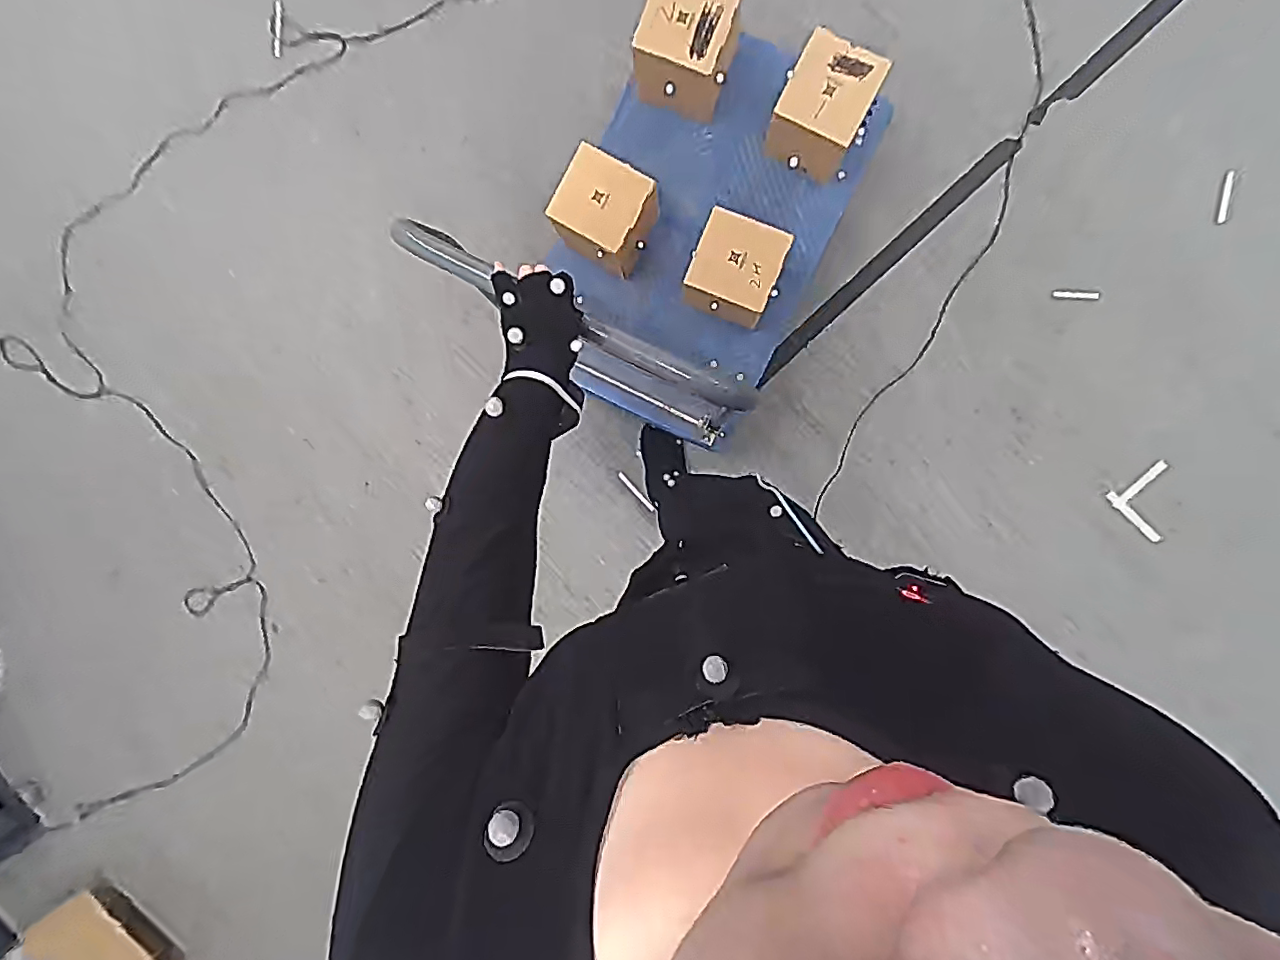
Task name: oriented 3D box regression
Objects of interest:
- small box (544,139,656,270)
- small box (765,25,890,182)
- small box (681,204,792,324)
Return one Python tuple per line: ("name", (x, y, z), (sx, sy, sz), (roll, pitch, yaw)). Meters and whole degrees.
("small box", (-0.079, -0.587, 1.179), (0.179, 0.176, 0.168), (30, 96, 0))
("small box", (0.377, -0.770, 1.127), (0.168, 0.176, 0.179), (28, 97, 2))
("small box", (0.200, -0.453, 1.166), (0.179, 0.176, 0.168), (24, 96, 3))
